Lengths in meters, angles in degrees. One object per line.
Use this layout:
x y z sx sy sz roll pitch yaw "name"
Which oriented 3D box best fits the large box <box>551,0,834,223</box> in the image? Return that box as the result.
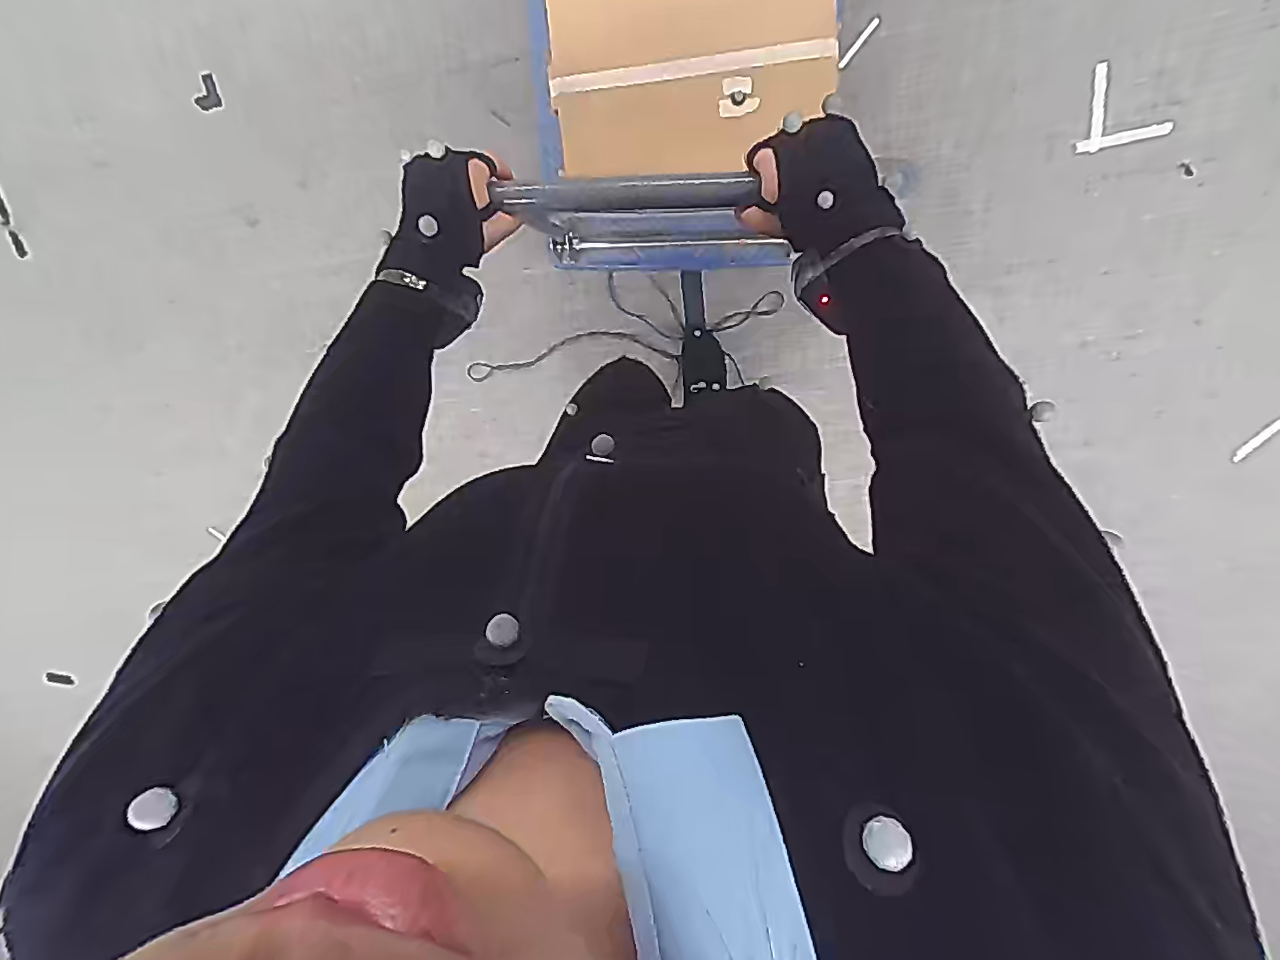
0.091 -0.648 0.933 0.408 0.320 0.320 -3 110 7 "large box"
